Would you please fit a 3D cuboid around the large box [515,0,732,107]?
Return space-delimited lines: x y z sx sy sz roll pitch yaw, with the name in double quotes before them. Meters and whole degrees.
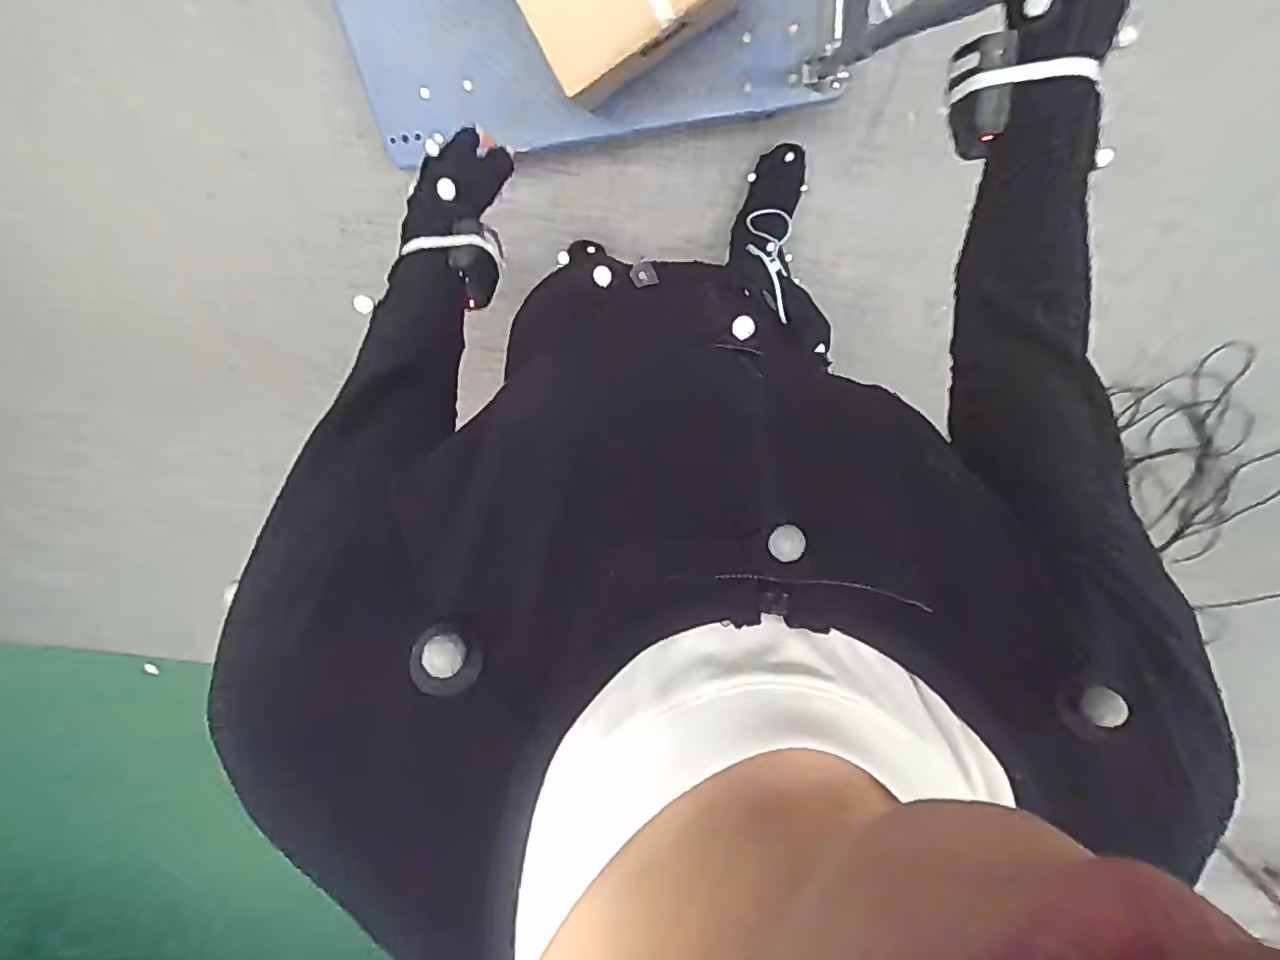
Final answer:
"large box" -0.069 -0.816 0.741 0.320 0.320 0.408 -27 118 16
